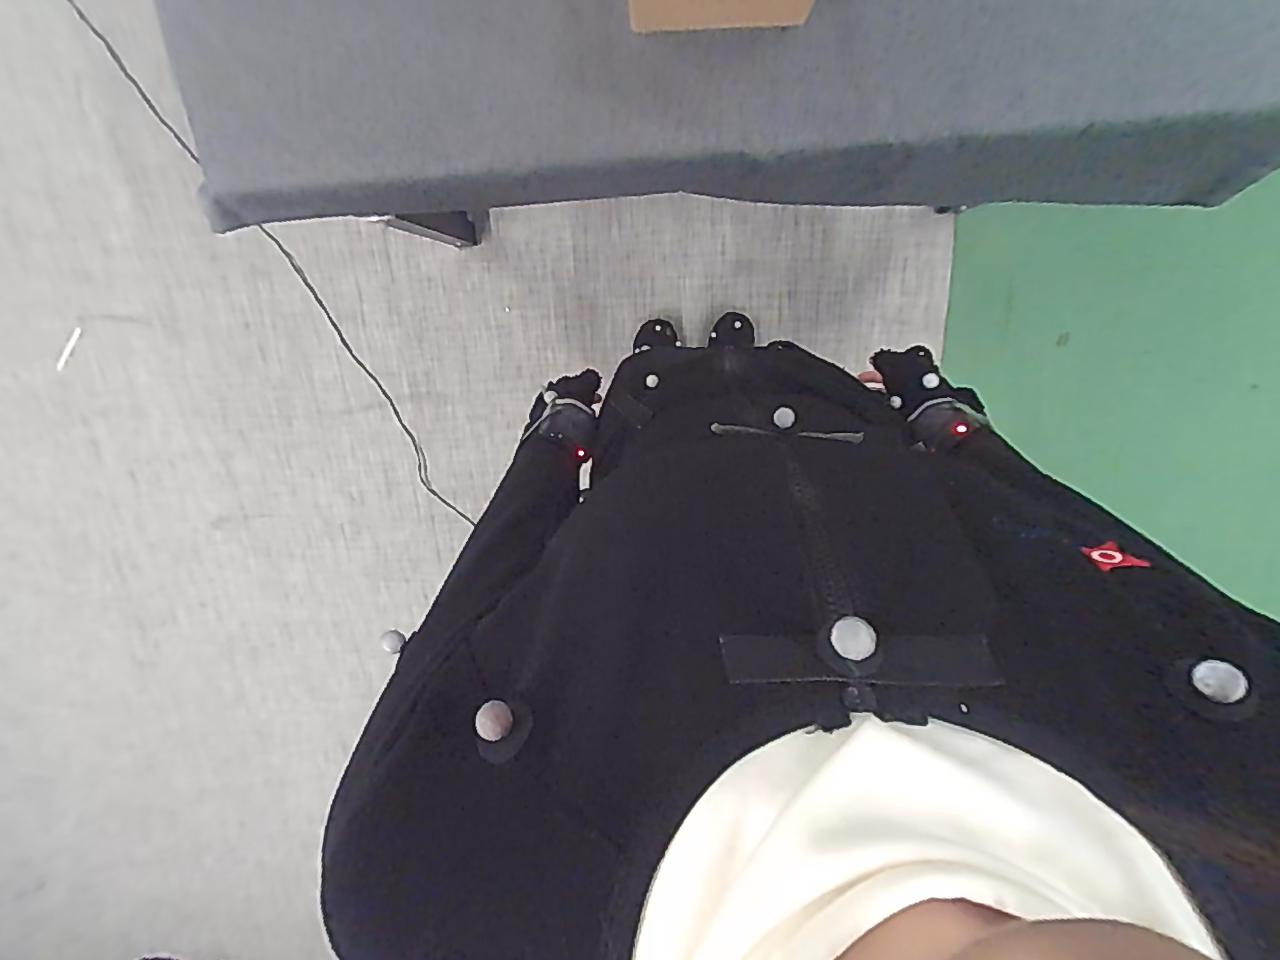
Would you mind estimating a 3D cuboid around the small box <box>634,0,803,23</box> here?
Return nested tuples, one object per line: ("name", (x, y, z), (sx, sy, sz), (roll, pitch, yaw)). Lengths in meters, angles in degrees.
("small box", (0.078, -0.515, 0.444), (0.179, 0.176, 0.168), (0, 107, 3))
